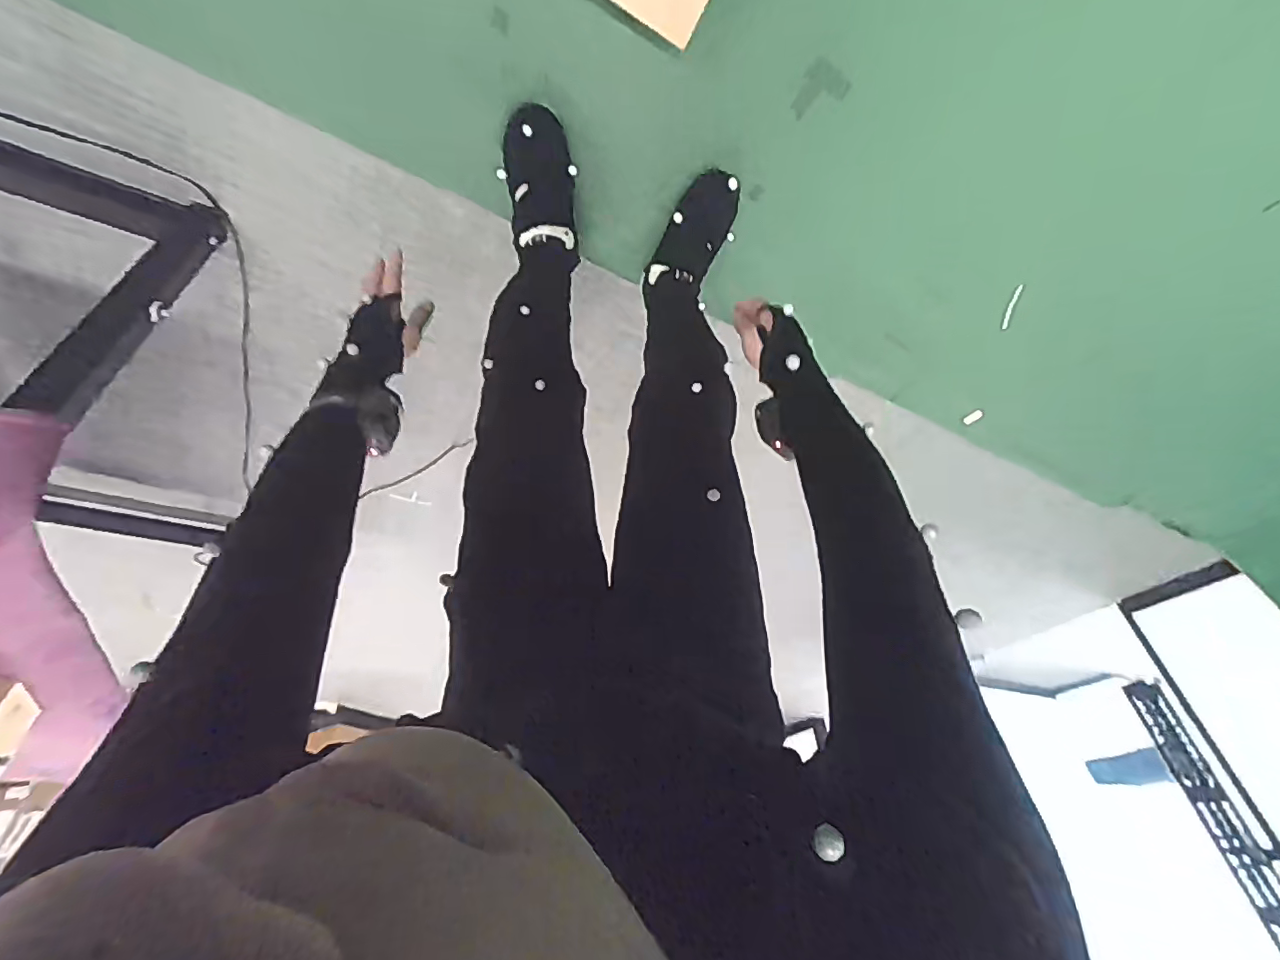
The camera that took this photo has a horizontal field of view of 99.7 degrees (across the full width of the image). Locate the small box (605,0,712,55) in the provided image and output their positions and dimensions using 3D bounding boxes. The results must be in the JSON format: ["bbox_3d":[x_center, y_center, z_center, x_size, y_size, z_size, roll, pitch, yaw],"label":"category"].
[{"bbox_3d":[0.025,-0.692,0.672,0.168,0.176,0.179,18,137,-24],"label":"small box"}]

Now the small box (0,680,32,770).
[{"bbox_3d":[-1.026,0.376,0.762,0.179,0.176,0.168,20,136,-25],"label":"small box"}]
